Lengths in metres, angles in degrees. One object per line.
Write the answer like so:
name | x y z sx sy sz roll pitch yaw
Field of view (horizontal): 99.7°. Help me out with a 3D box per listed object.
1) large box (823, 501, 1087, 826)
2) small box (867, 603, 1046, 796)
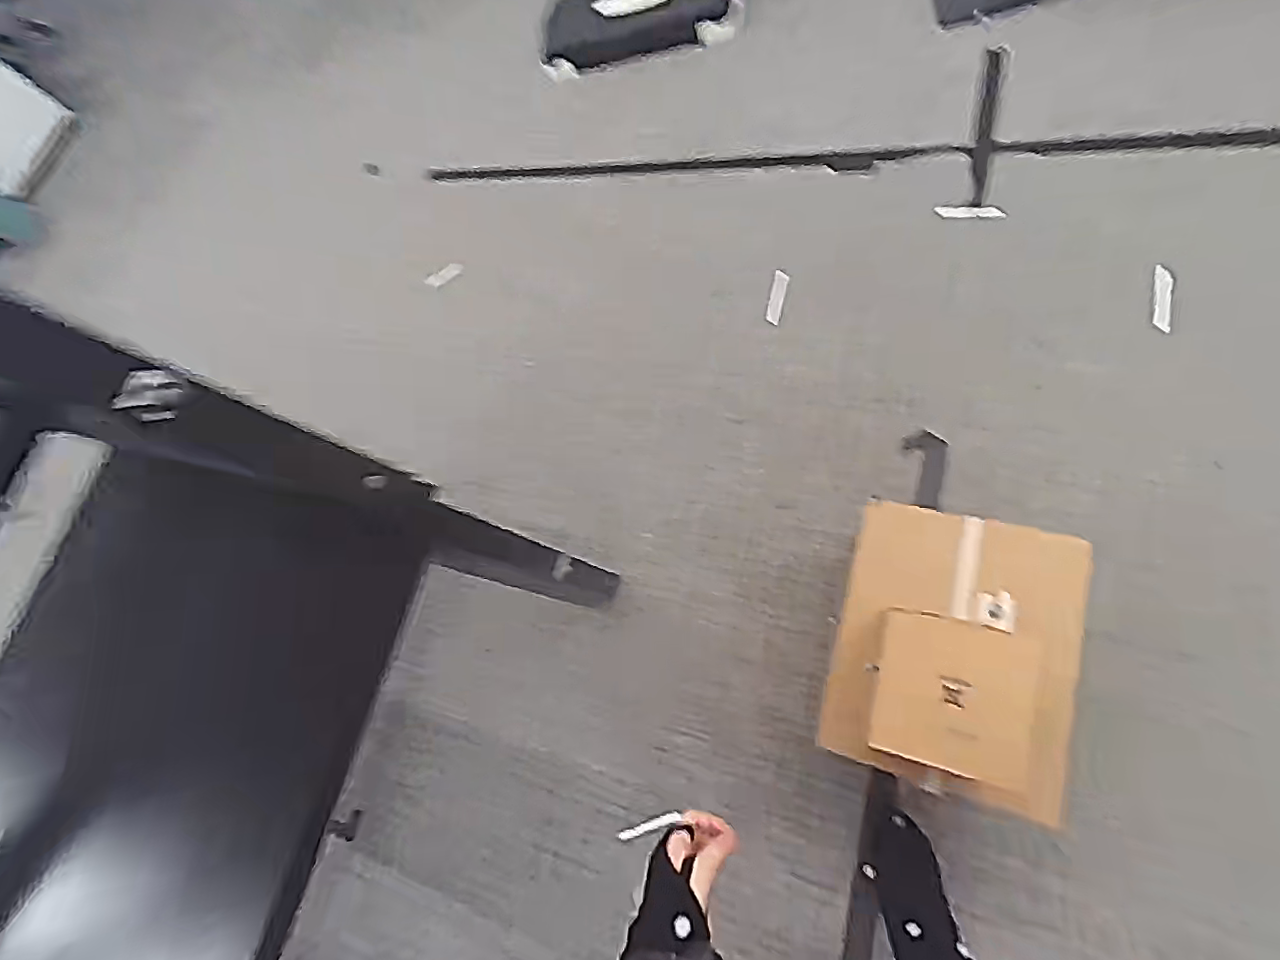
large box | 0.513 0.294 0.941 0.320 0.320 0.408 12 75 20
small box | 0.402 0.276 0.711 0.168 0.176 0.179 10 76 23
